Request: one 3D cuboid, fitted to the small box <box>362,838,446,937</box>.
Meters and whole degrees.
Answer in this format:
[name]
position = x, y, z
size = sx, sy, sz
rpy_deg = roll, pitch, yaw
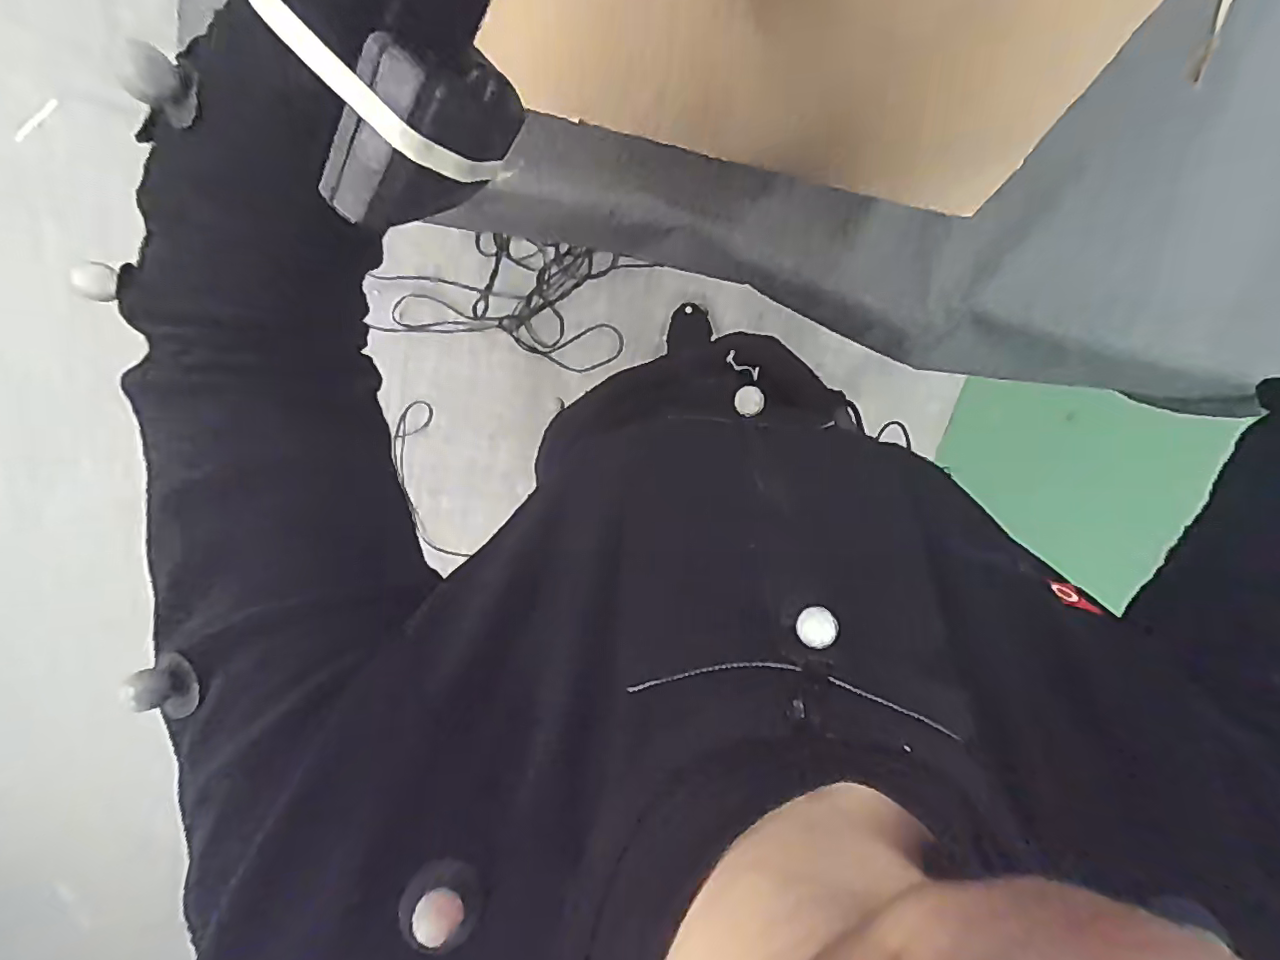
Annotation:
[small box]
position = -0.726, 1.251, 1.672
size = 0.179, 0.176, 0.168
rpy_deg = 13, 105, -3
